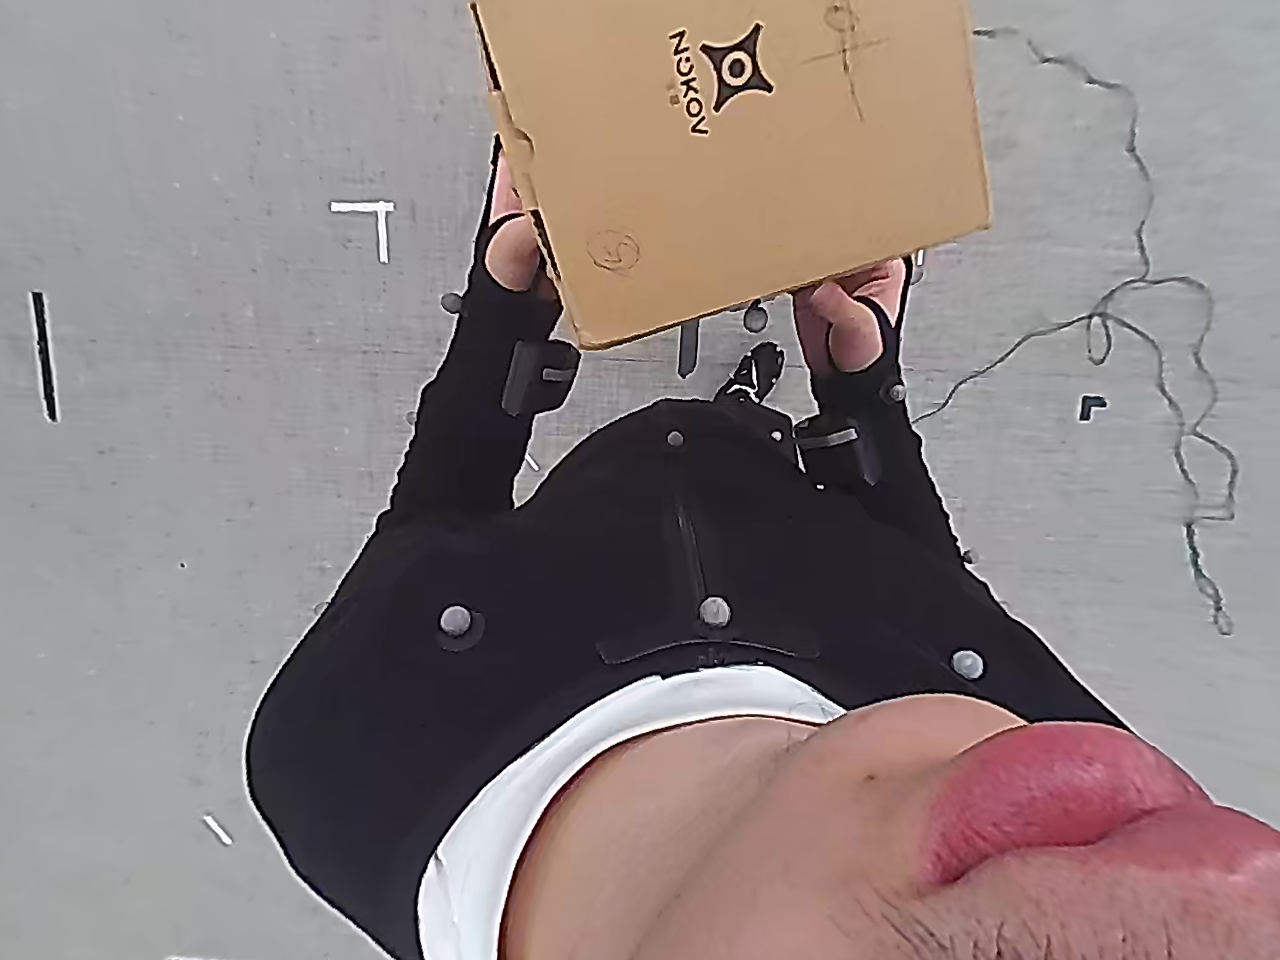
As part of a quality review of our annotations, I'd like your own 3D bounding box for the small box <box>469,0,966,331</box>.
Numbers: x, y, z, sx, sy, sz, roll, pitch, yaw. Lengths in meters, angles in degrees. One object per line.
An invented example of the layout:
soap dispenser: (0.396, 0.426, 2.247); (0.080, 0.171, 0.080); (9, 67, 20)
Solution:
small box: (0.036, -0.185, 0.295); (0.179, 0.176, 0.168); (-16, 105, 7)
